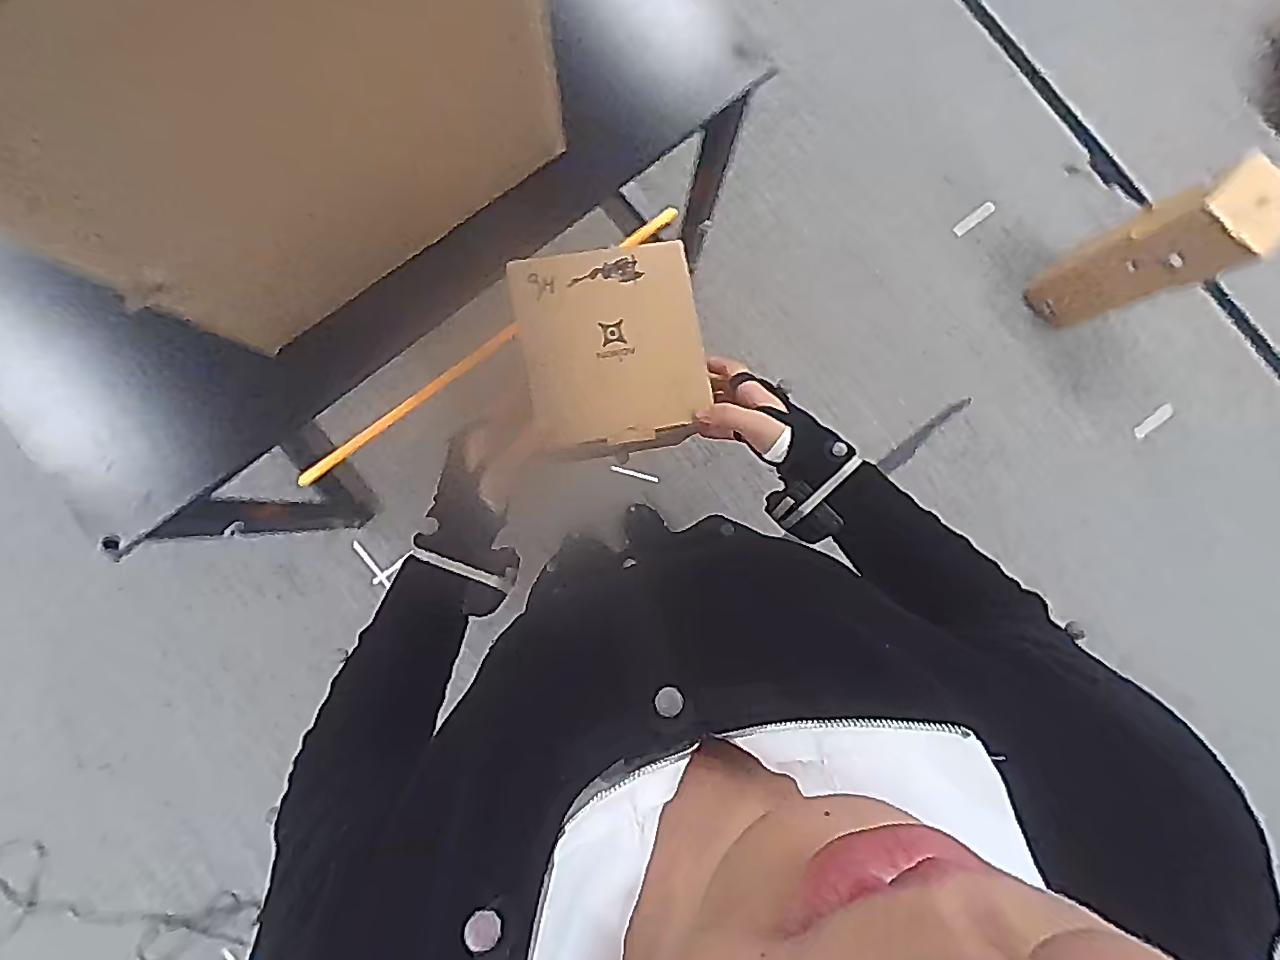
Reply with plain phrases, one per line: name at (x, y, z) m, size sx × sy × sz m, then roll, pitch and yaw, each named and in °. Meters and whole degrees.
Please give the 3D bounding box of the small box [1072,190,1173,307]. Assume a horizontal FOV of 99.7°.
small box at (1.257, -0.572, 1.361) m, size 0.168 × 0.176 × 0.179 m, roll -43°, pitch 90°, yaw -4°

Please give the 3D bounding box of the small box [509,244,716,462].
small box at (-0.032, -0.116, 0.566) m, size 0.168 × 0.176 × 0.179 m, roll -11°, pitch 89°, yaw -8°

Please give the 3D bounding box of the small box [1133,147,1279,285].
small box at (1.266, -0.573, 1.196) m, size 0.168 × 0.176 × 0.179 m, roll 43°, pitch 86°, yaw 1°

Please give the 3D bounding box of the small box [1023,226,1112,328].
small box at (1.244, -0.565, 1.525) m, size 0.168 × 0.176 × 0.179 m, roll 45°, pitch 87°, yaw 1°
